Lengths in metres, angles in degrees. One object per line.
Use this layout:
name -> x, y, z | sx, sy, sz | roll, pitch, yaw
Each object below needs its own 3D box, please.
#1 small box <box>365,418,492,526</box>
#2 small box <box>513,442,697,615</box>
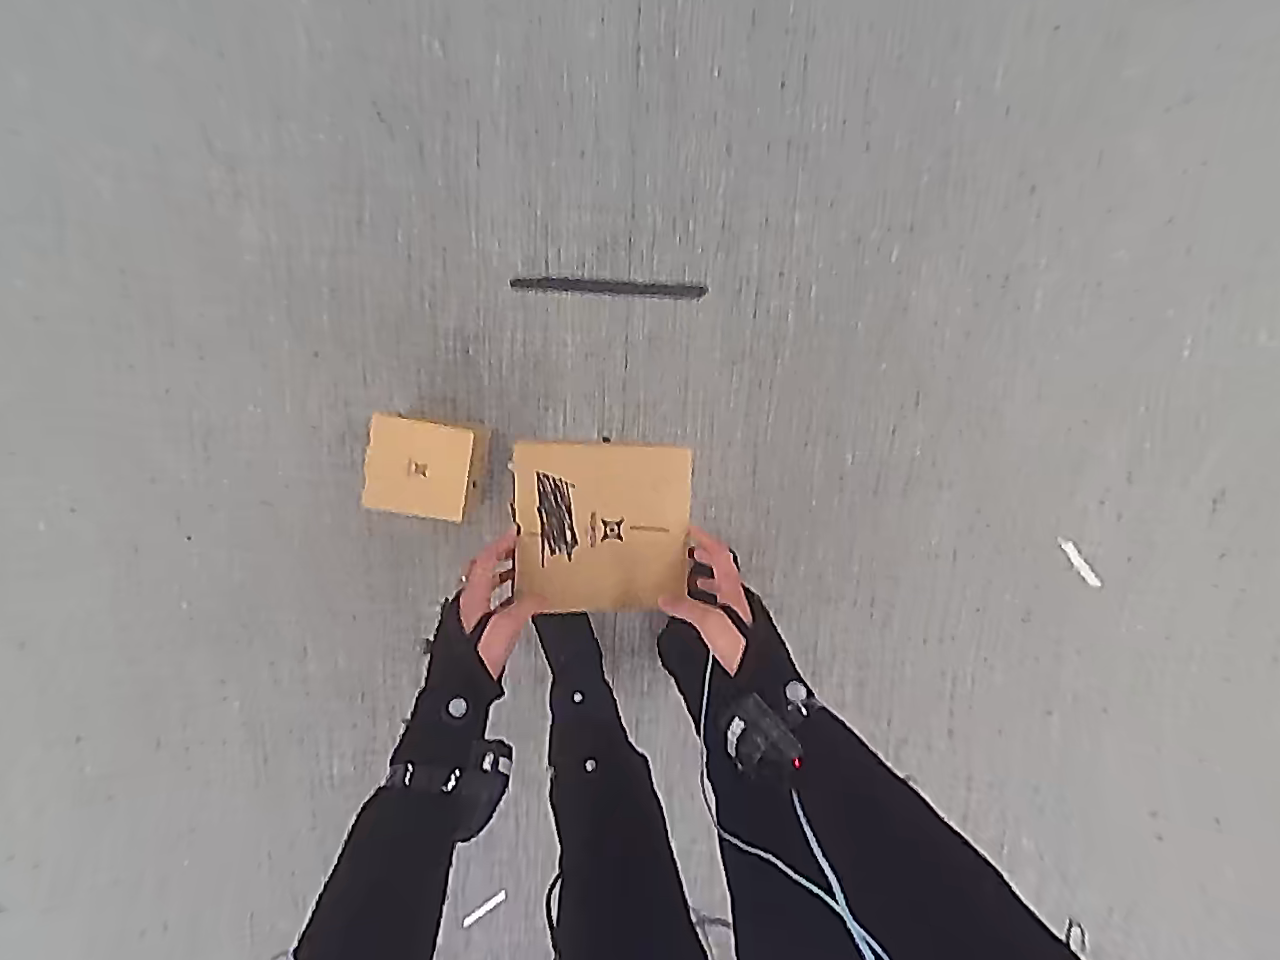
small box -> -0.389, -0.022, 1.023 | 0.179, 0.176, 0.168 | 10, 97, -5
small box -> -0.046, 0.044, 0.603 | 0.179, 0.176, 0.168 | 1, 96, -10
